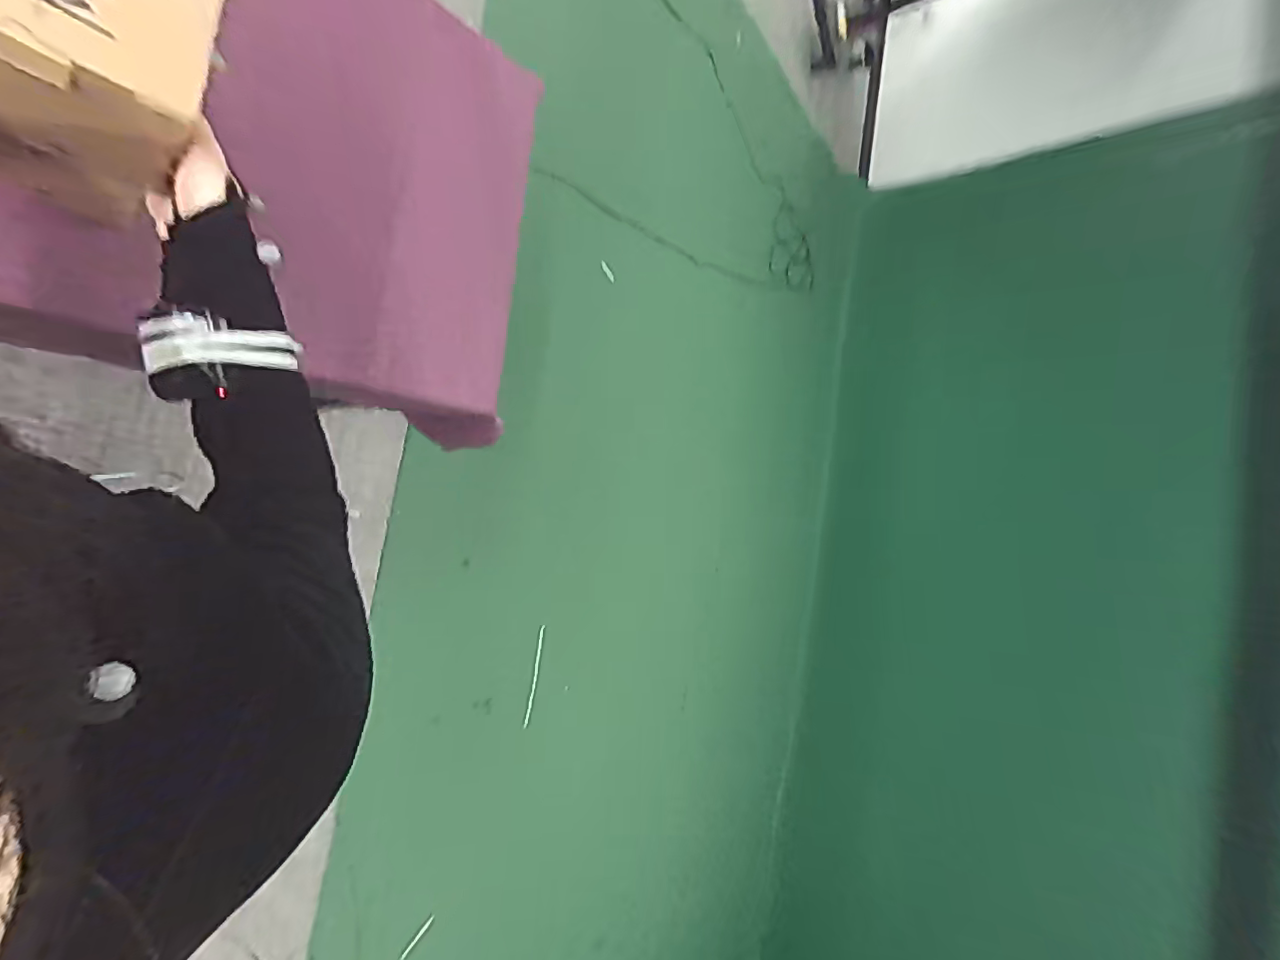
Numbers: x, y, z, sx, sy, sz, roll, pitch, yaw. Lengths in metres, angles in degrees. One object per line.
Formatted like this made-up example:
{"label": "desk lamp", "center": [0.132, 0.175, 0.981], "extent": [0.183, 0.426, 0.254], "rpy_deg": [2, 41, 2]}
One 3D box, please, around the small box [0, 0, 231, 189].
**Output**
{"label": "small box", "center": [-0.404, -0.341, 0.374], "extent": [0.168, 0.176, 0.179], "rpy_deg": [12, 83, -49]}
